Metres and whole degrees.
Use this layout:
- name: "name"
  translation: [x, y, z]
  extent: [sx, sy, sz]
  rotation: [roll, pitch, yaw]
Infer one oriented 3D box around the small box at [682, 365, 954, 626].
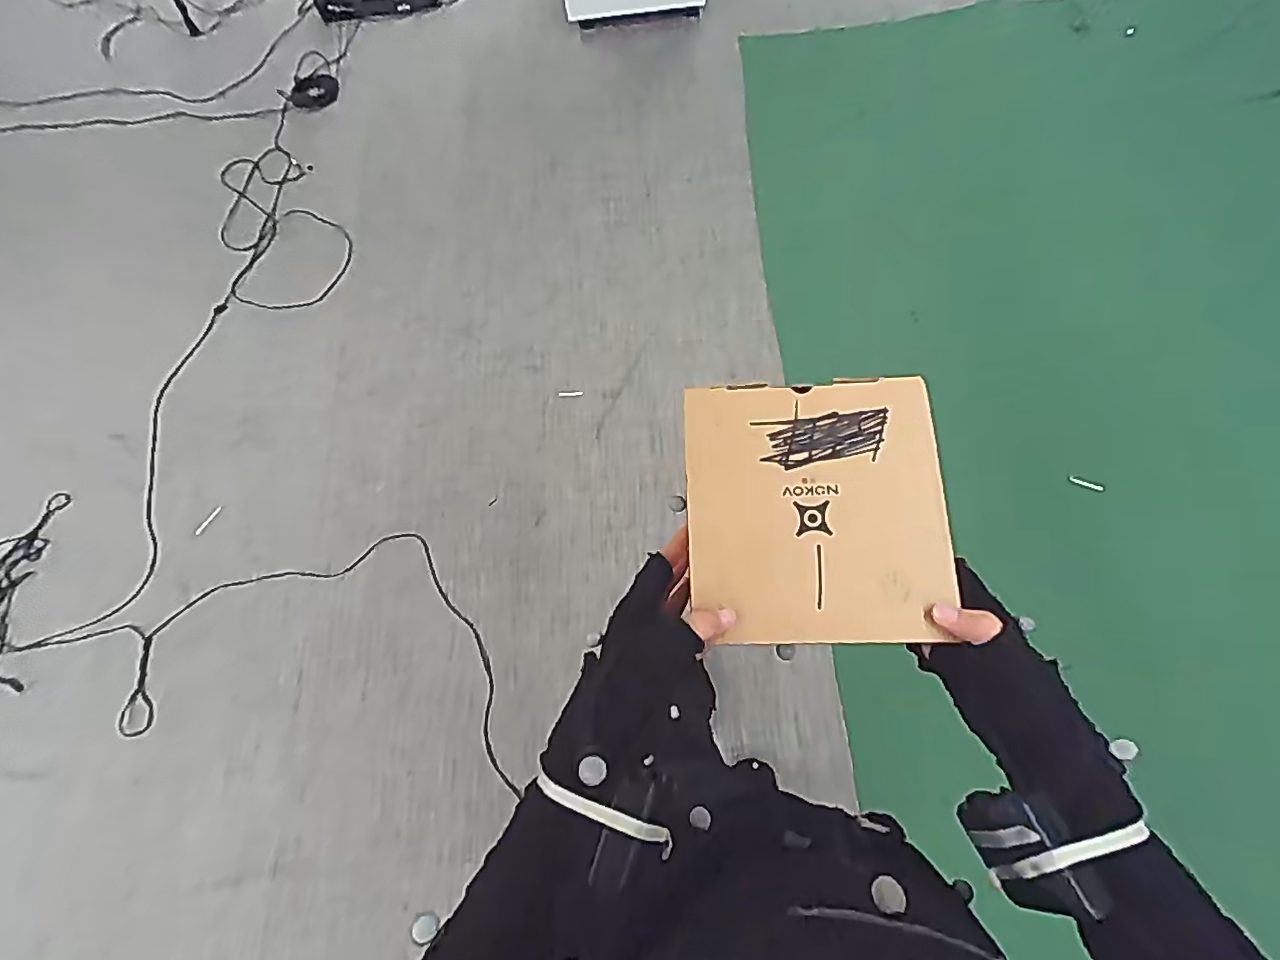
- name: "small box"
  translation: [0.118, 0.026, 0.436]
  extent: [0.168, 0.176, 0.179]
  rotation: [-2, 75, 5]
